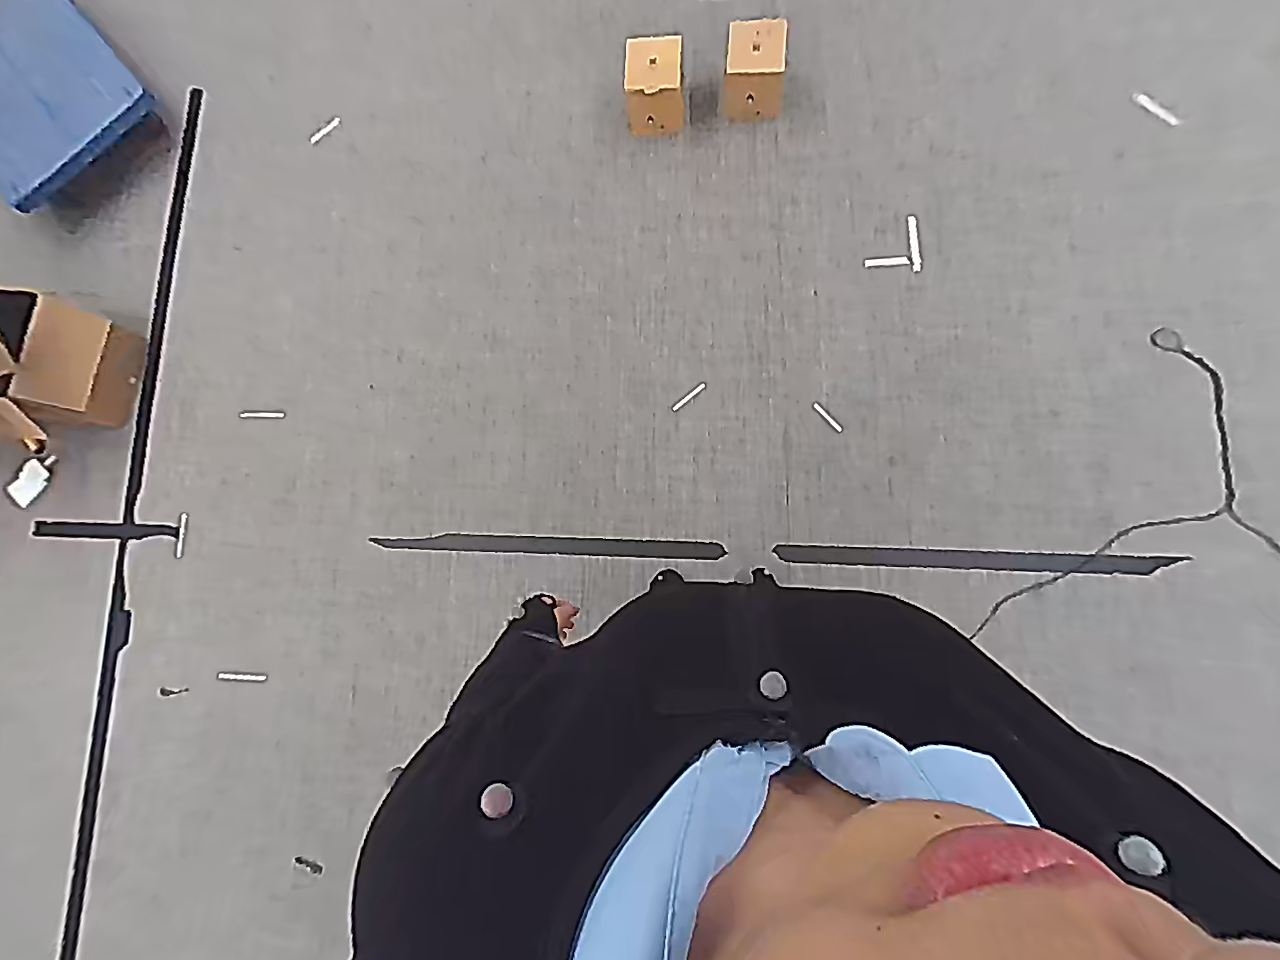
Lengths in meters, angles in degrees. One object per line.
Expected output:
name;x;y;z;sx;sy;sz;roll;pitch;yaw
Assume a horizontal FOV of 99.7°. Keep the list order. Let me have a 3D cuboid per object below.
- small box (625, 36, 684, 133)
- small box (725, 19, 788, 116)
small box;0.050;-1.208;1.660;0.168;0.176;0.179;1;82;7
small box;0.345;-1.232;1.627;0.168;0.176;0.179;4;82;6
